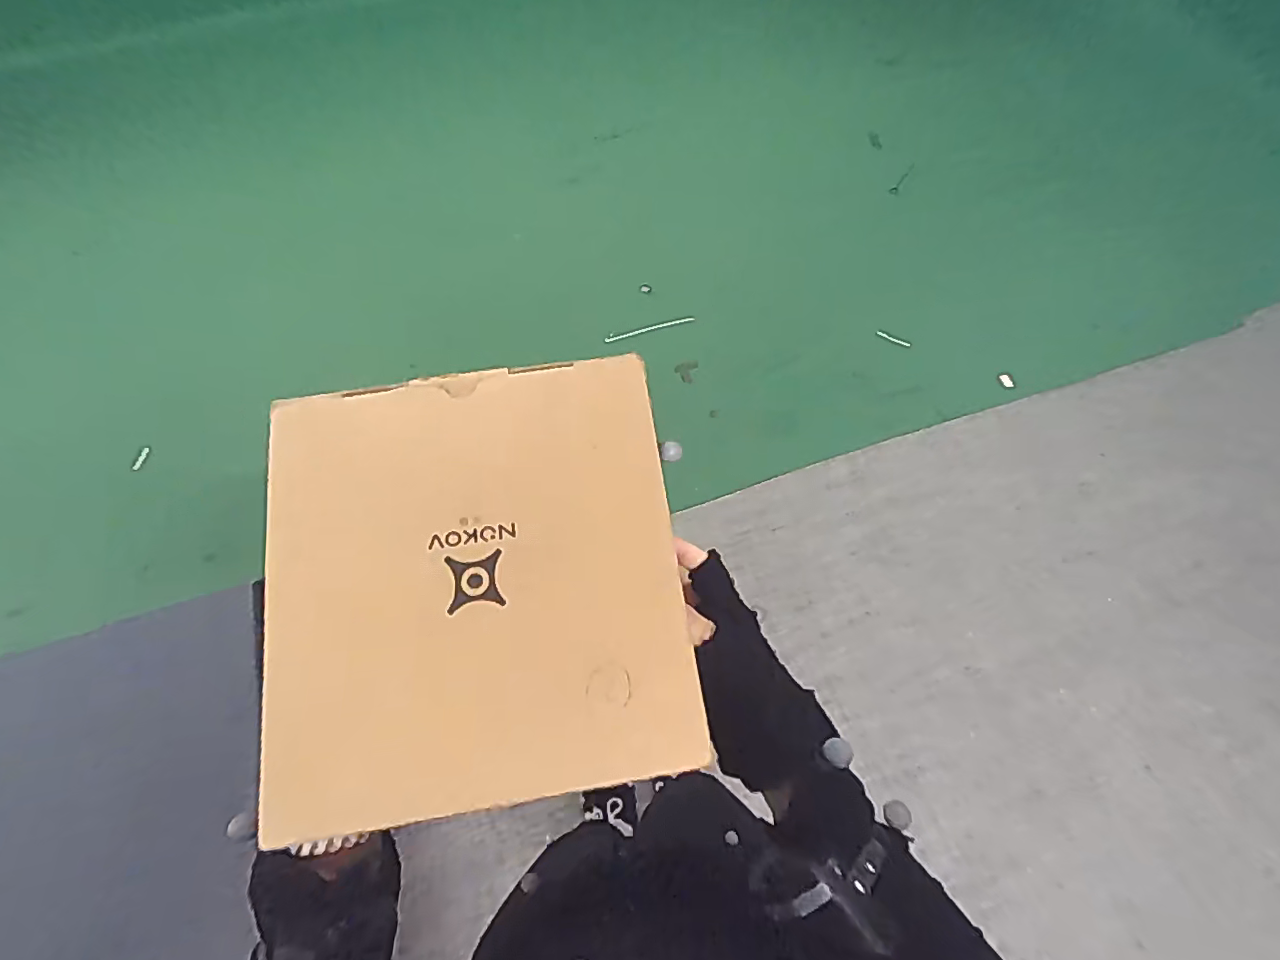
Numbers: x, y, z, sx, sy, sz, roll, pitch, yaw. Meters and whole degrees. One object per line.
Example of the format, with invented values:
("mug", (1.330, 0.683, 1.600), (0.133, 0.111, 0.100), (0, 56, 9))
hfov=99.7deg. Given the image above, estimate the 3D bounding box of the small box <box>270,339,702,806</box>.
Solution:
("small box", (-0.068, 0.050, 0.301), (0.168, 0.176, 0.179), (-8, 73, -4))
